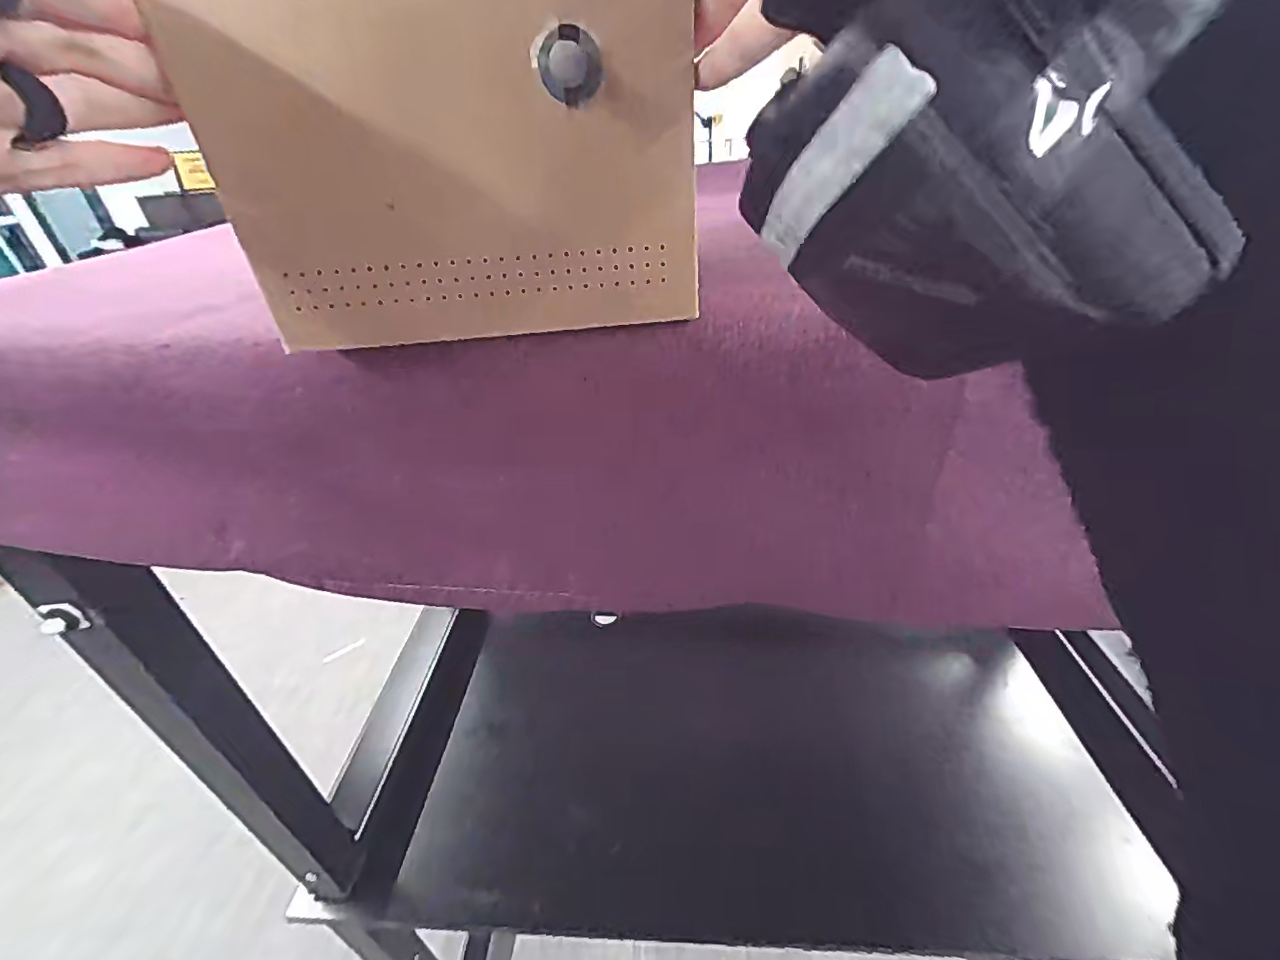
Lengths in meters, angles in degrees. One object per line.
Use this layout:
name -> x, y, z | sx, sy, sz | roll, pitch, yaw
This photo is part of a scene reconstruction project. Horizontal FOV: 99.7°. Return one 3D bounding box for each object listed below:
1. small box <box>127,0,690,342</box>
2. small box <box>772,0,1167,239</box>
small box -> -0.073, -0.172, 0.245 | 0.179, 0.176, 0.168 | -6, 32, -2
small box -> 0.189, -0.258, 0.350 | 0.168, 0.176, 0.179 | -3, 32, 0
